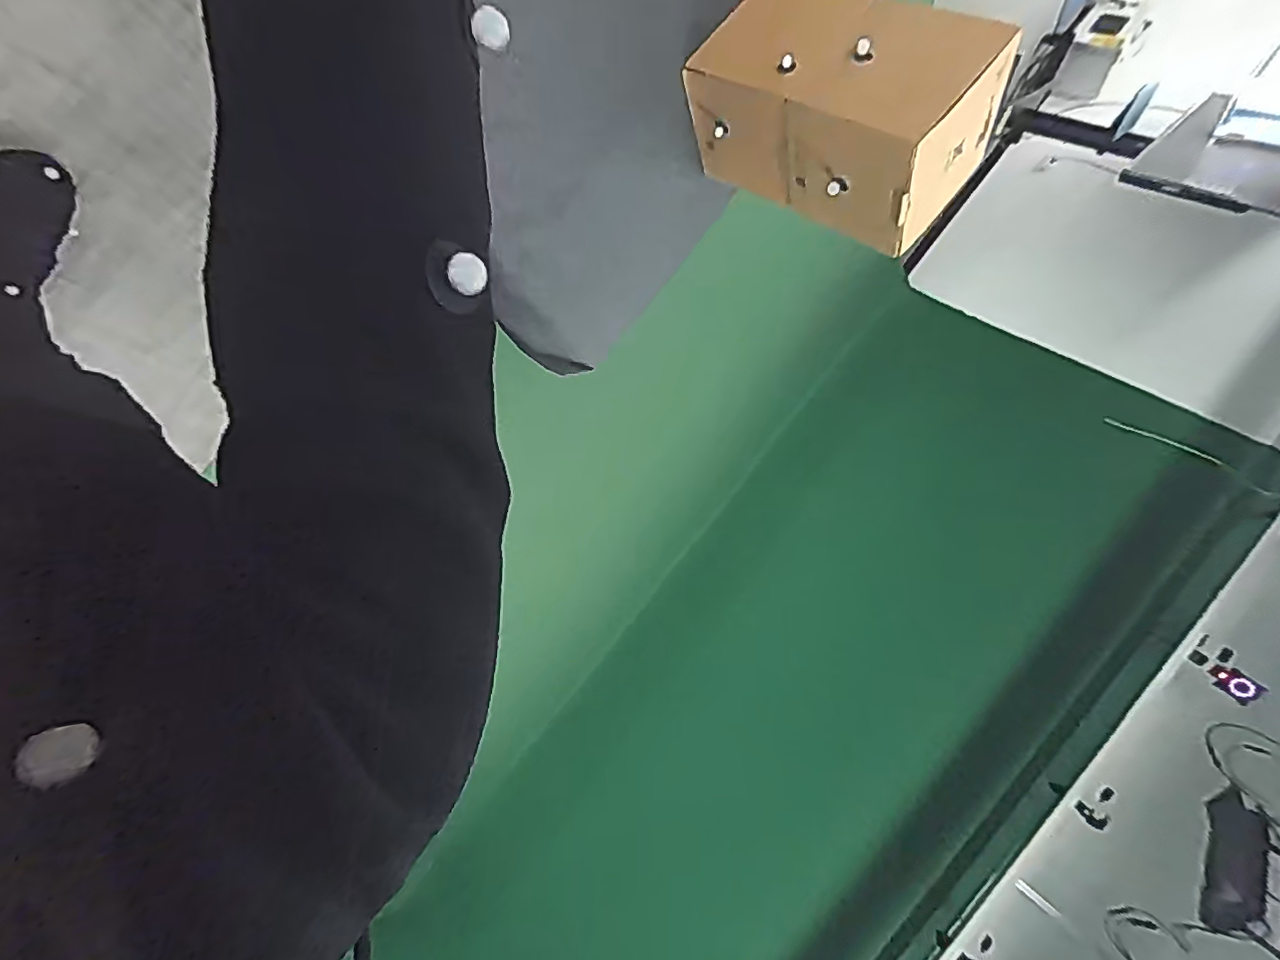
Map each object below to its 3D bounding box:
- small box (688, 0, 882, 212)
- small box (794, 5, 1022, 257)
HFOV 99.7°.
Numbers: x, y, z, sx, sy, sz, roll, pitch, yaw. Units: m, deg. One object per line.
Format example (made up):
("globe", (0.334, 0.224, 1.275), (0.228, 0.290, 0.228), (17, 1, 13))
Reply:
("small box", (0.192, -0.512, 0.728), (0.179, 0.176, 0.168), (-49, 154, -3))
("small box", (0.301, -0.417, 0.653), (0.179, 0.176, 0.168), (-48, 154, -3))
